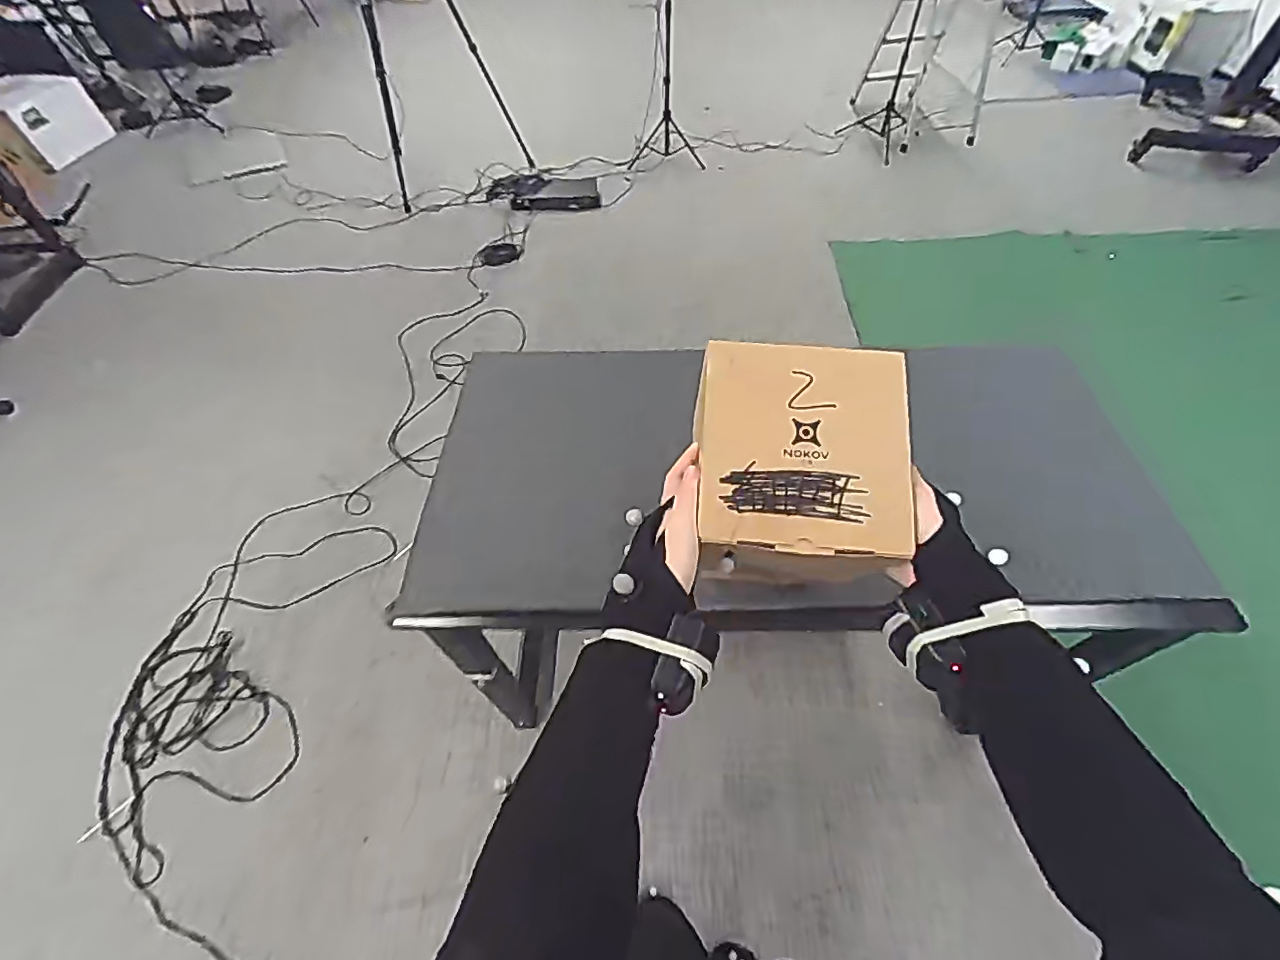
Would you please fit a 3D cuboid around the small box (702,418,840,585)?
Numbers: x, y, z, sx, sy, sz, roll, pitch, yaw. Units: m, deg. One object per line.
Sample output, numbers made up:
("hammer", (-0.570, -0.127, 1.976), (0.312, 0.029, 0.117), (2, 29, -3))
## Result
("small box", (0.178, 0.032, 0.791), (0.168, 0.176, 0.179), (3, 53, 5))
